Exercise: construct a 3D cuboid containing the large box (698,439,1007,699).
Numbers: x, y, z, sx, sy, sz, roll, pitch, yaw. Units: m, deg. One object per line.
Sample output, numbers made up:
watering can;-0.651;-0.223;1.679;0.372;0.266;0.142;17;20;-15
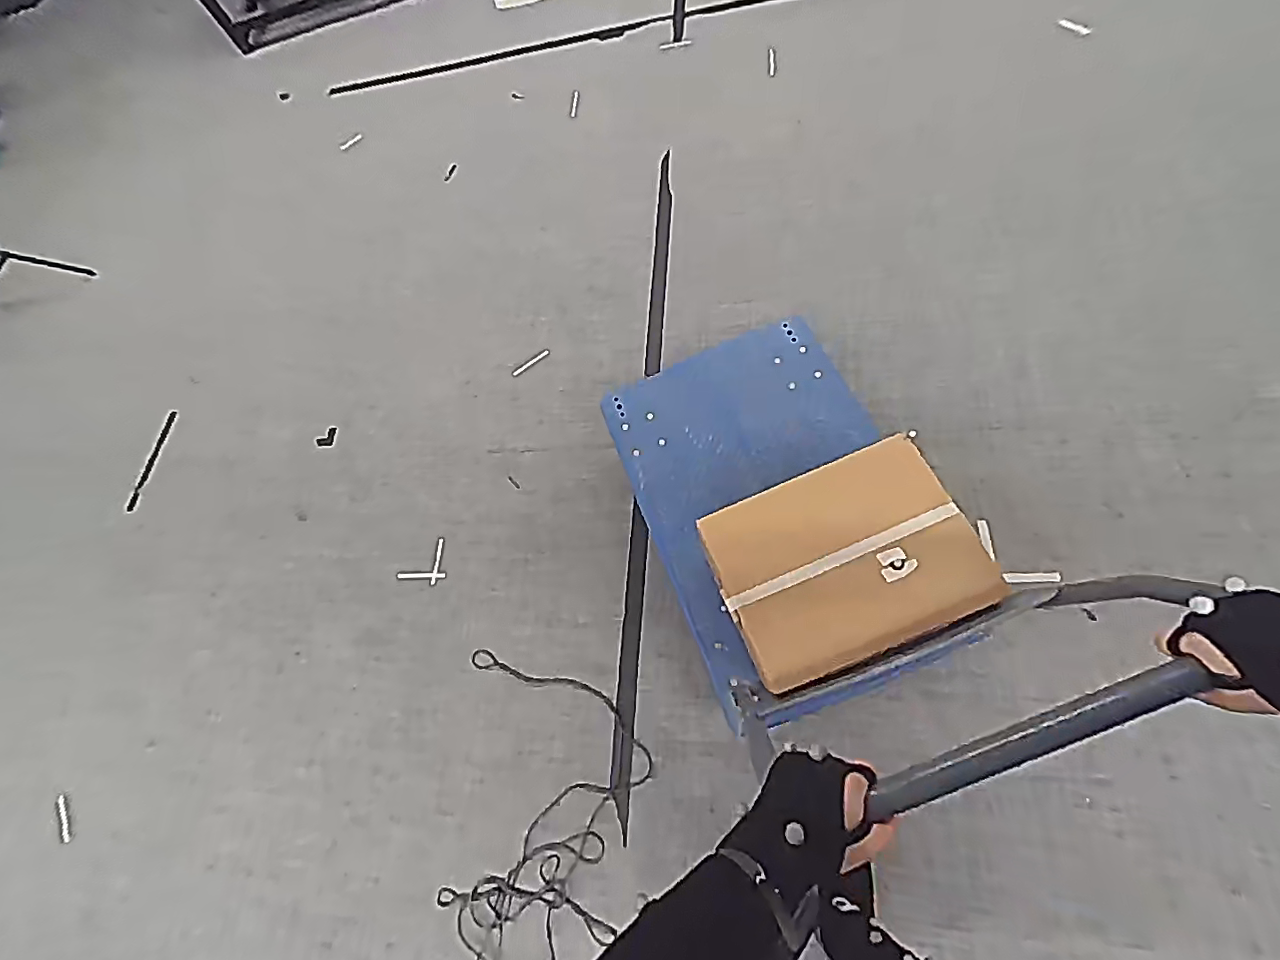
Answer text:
large box;0.358;0.187;1.030;0.408;0.320;0.320;-23;68;1
